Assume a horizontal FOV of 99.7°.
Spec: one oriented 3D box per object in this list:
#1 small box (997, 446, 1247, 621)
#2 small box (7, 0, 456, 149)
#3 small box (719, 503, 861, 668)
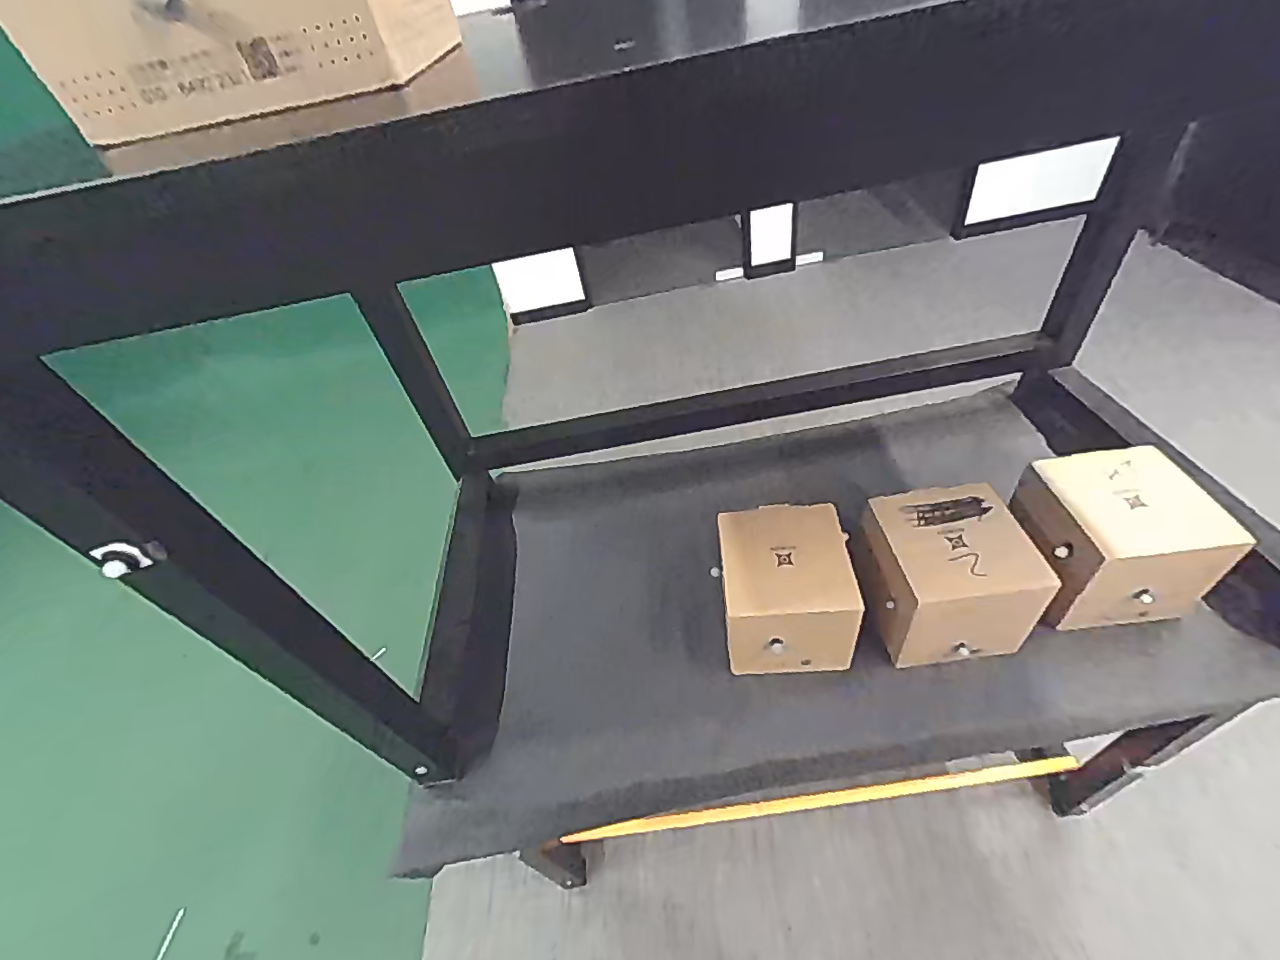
[{"bbox_3d":[0.640,0.081,0.750,0.168,0.176,0.179,-8,44,5],"label":"small box"},{"bbox_3d":[-0.211,-0.292,0.275,0.168,0.176,0.179,-9,45,4],"label":"small box"},{"bbox_3d":[0.206,0.158,0.778,0.168,0.176,0.179,-5,44,8],"label":"small box"}]
